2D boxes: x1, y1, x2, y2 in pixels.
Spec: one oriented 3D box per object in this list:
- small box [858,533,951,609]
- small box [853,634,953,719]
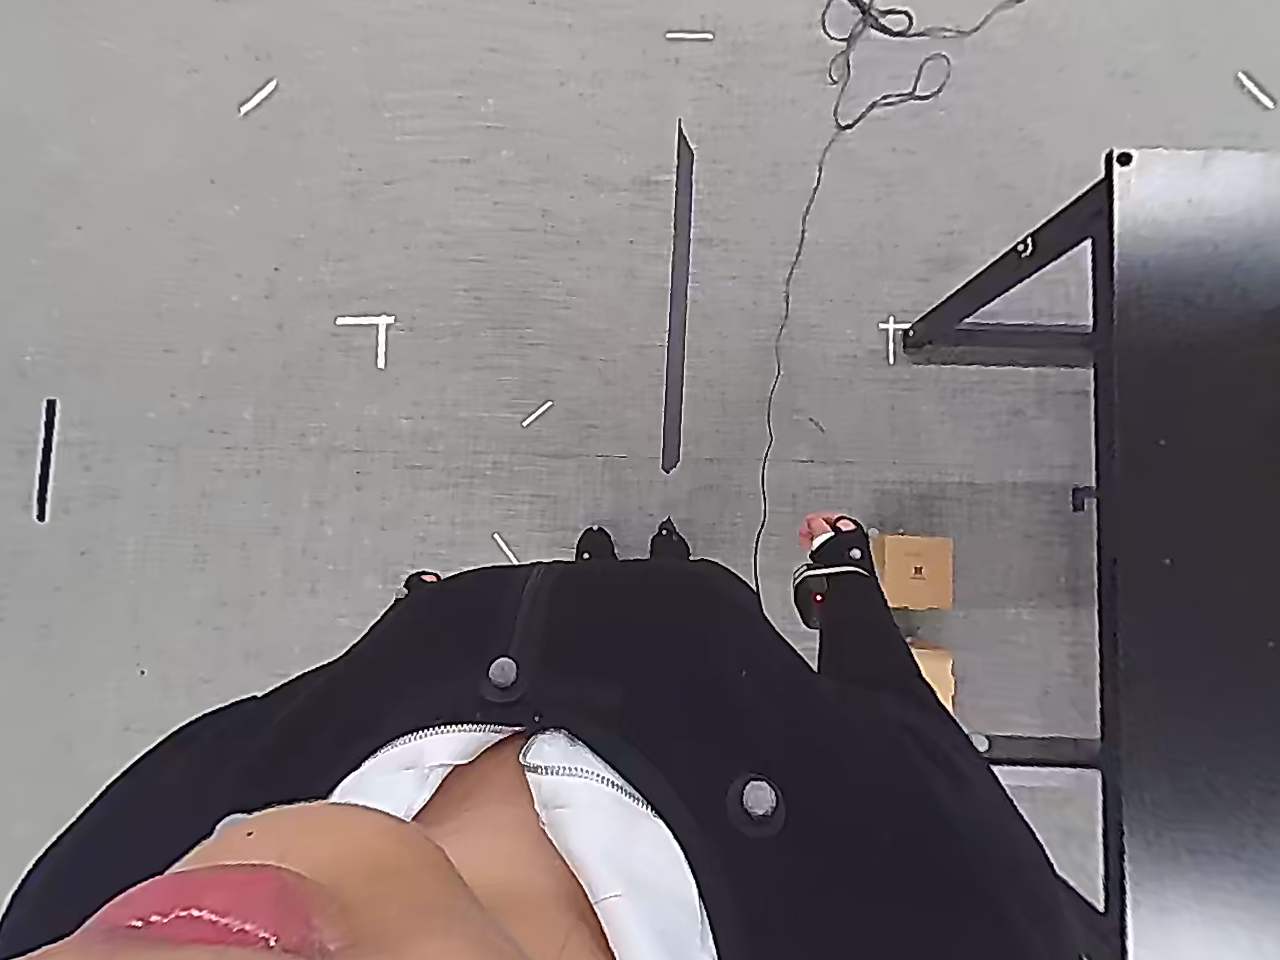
[{"bbox_3d":[0.675,0.229,1.391,0.168,0.176,0.179,2,85,2],"label":"small box"},{"bbox_3d":[0.659,0.491,1.369,0.179,0.176,0.168,1,85,2],"label":"small box"}]
